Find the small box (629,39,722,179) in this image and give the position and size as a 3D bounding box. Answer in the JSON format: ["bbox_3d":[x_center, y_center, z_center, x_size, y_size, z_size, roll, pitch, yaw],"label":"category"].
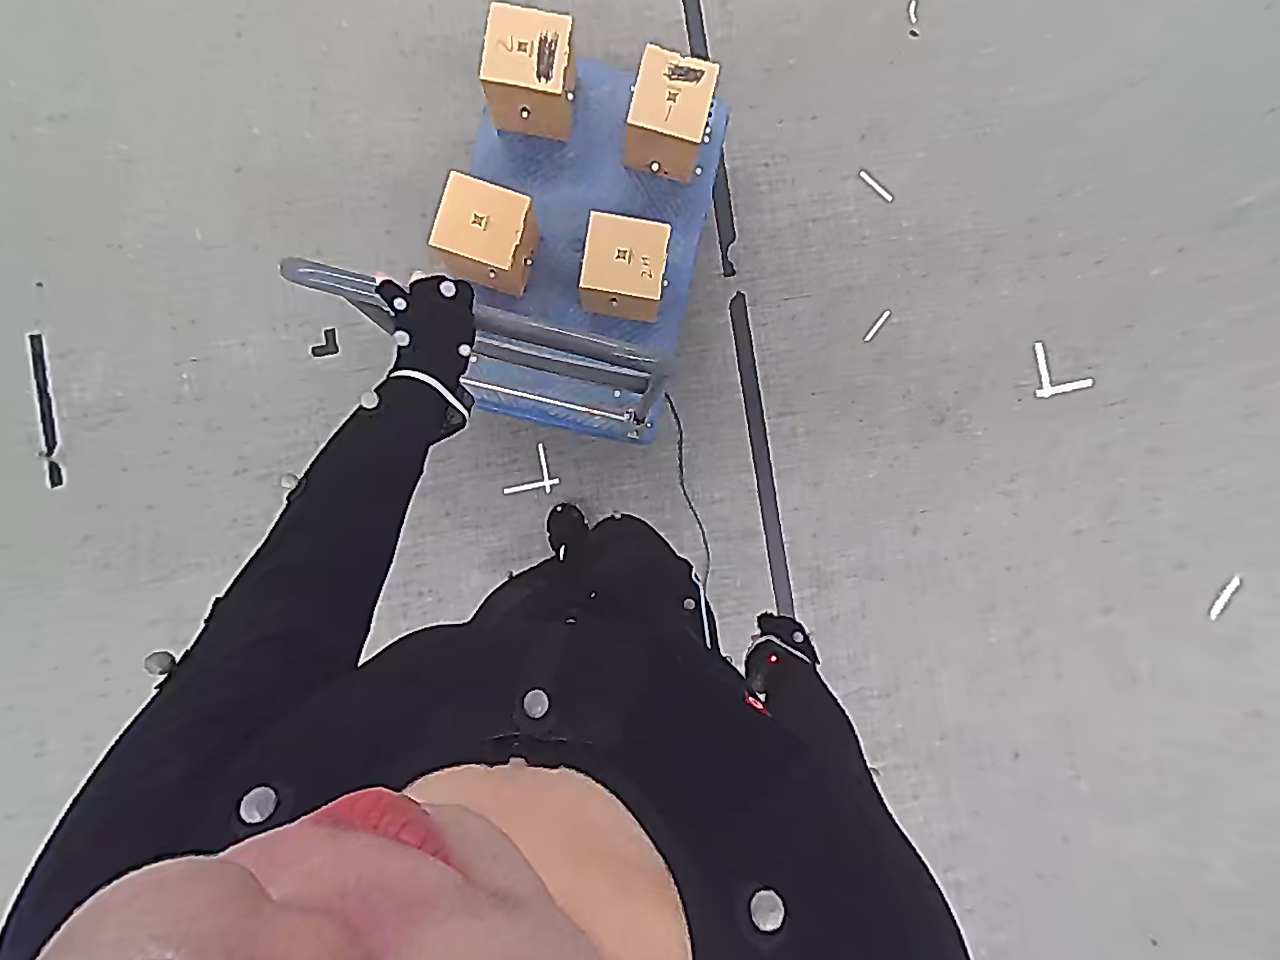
[{"bbox_3d":[0.072,-0.828,1.224,0.168,0.176,0.179,14,91,-3],"label":"small box"}]

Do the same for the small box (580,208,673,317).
[{"bbox_3d":[-0.032,-0.482,1.221,0.179,0.176,0.168,9,90,-3],"label":"small box"}]

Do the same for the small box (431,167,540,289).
[{"bbox_3d":[-0.334,-0.548,1.203,0.179,0.176,0.168,17,89,-5],"label":"small box"}]
